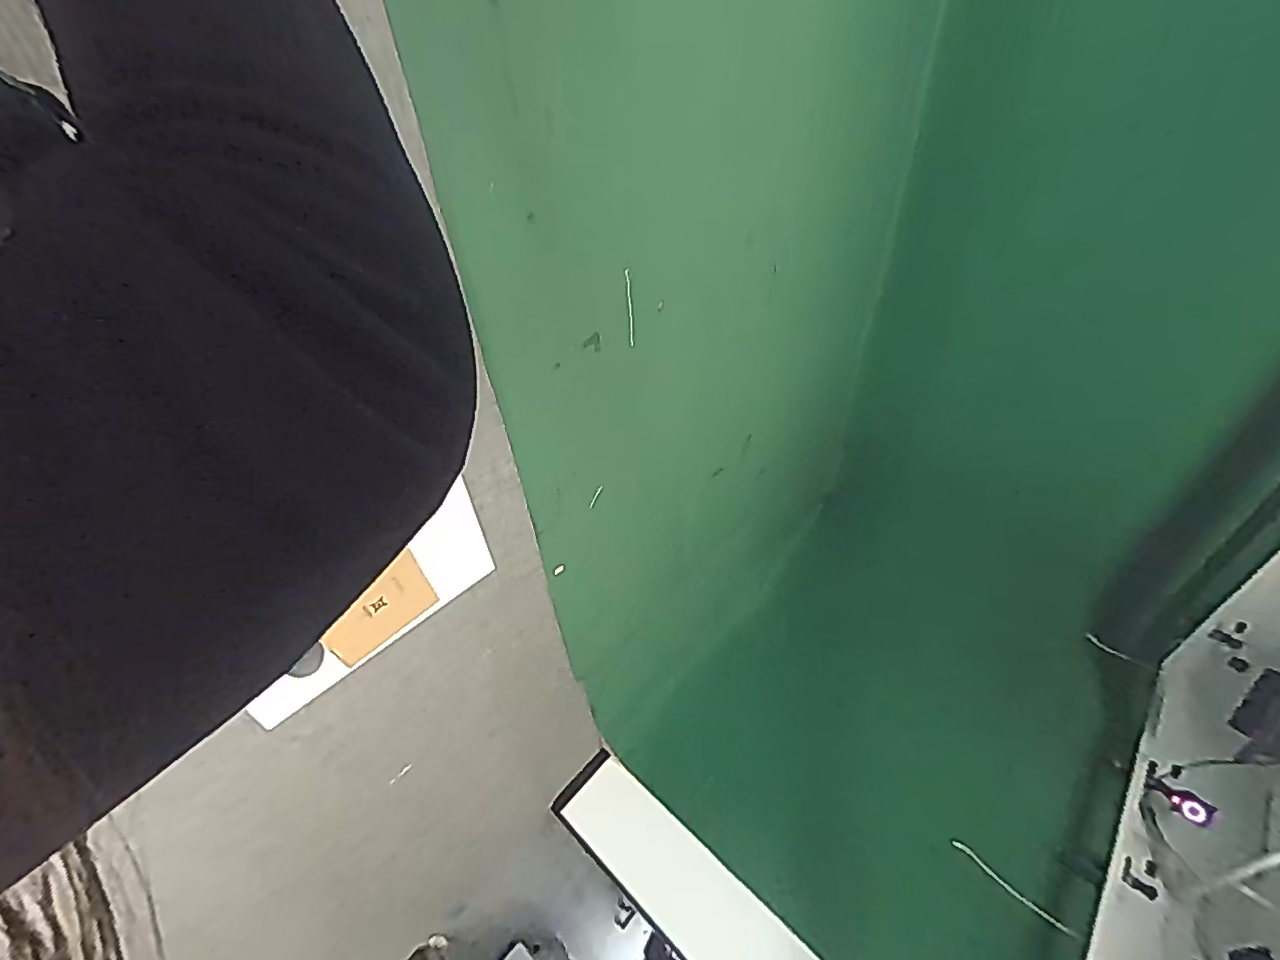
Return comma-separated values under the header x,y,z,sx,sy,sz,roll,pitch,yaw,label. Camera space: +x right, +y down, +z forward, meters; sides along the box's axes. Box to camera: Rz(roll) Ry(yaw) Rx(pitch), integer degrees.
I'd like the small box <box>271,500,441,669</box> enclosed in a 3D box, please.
x,y,z,sx,sy,sz,roll,pitch,yaw,label
-0.473,0.167,0.899,0.179,0.176,0.168,-40,143,-29,small box
